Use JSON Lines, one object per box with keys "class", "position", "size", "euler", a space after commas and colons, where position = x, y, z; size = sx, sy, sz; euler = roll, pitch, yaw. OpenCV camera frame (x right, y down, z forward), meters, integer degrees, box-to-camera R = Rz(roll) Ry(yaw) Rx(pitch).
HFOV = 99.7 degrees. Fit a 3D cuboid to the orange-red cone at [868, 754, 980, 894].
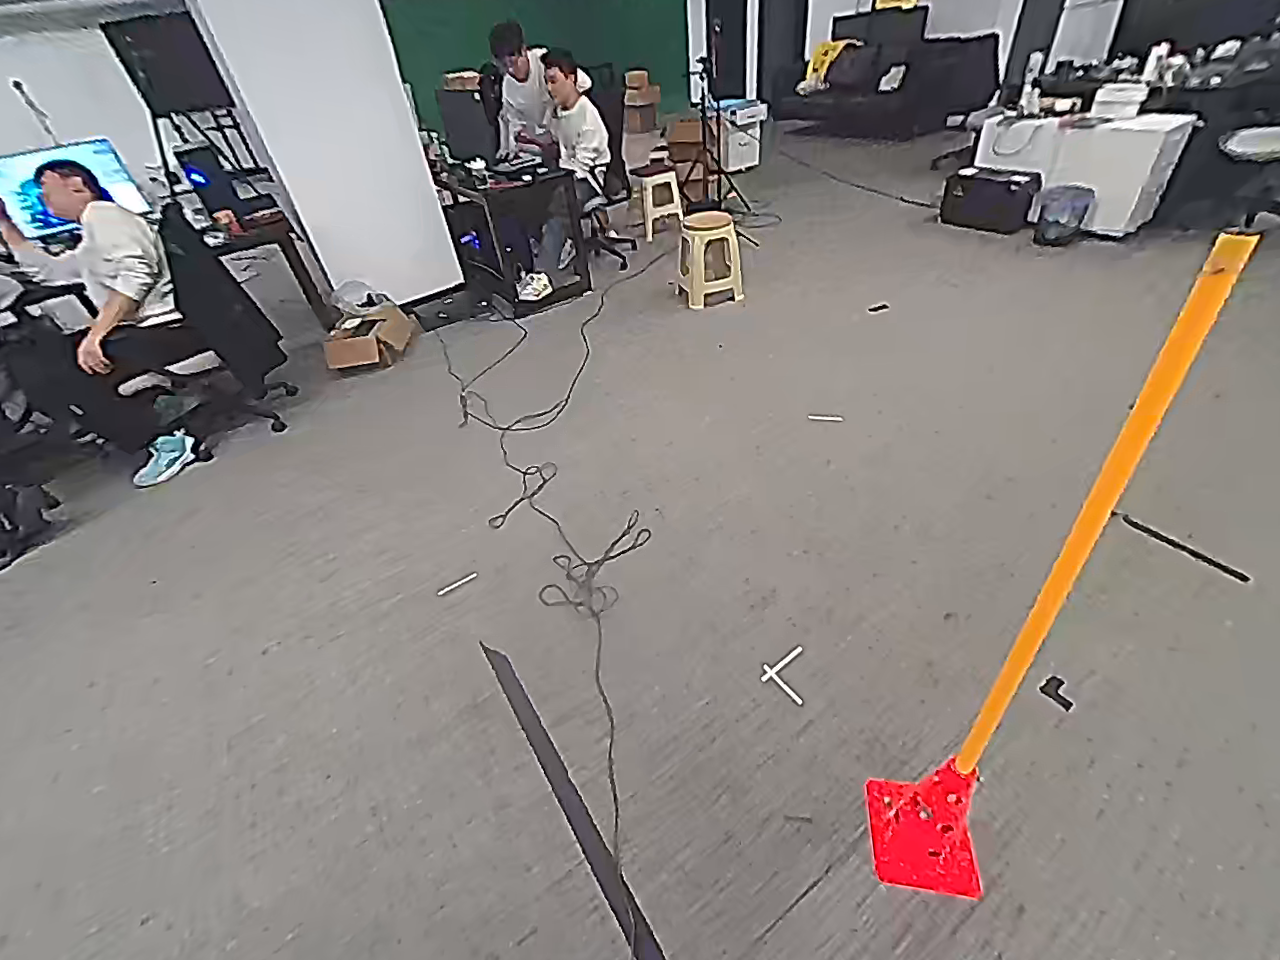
{"class": "orange-red cone", "position": [0.572, 0.616, 1.032], "size": [0.198, 0.360, 0.199], "euler": [2, 43, 13]}
